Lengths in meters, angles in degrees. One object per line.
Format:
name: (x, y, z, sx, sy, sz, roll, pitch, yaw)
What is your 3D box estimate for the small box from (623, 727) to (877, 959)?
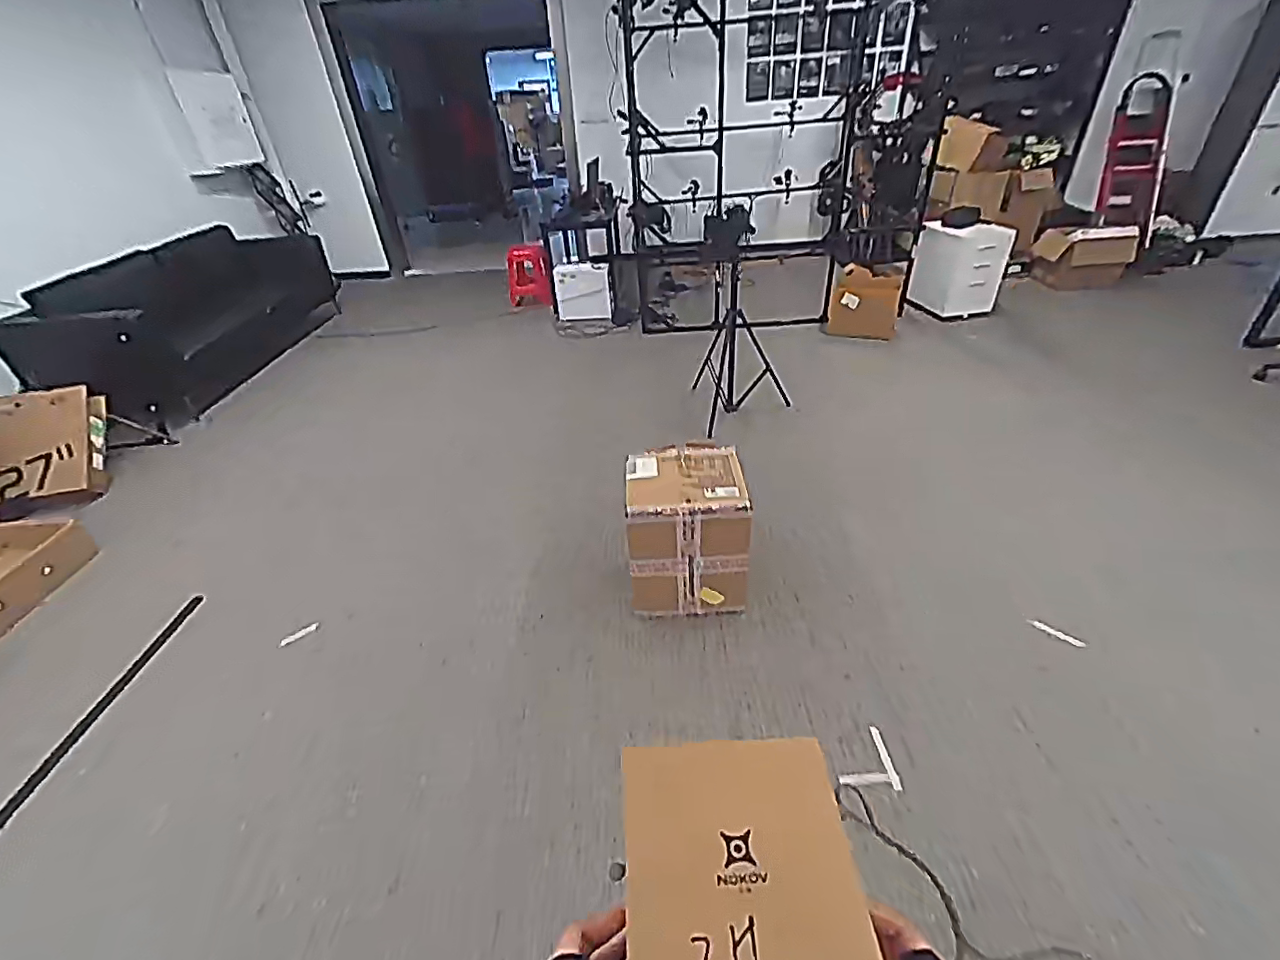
small box: (0.072, 0.332, 0.445, 0.168, 0.176, 0.179, -4, 39, 1)
